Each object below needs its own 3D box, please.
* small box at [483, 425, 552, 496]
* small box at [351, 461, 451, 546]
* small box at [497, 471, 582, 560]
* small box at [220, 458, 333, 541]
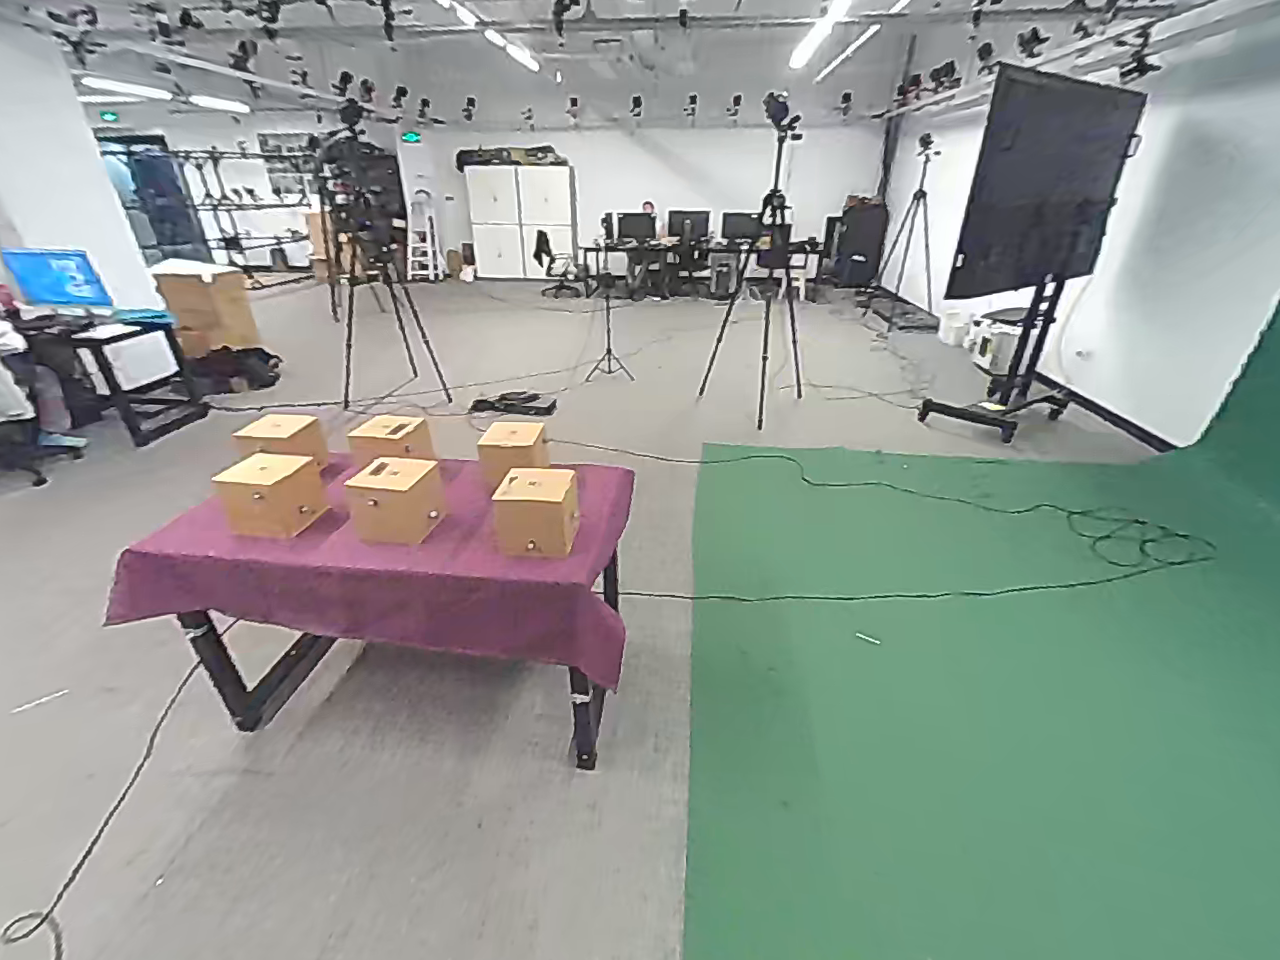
[{"bbox_3d":[-0.374,-0.059,1.682,0.168,0.176,0.179,1,29,4],"label":"small box"},{"bbox_3d":[-0.635,0.063,1.458,0.179,0.176,0.168,5,29,9],"label":"small box"},{"bbox_3d":[-0.251,0.093,1.397,0.179,0.176,0.168,3,28,5],"label":"small box"},{"bbox_3d":[-0.987,0.052,1.484,0.179,0.176,0.168,5,28,7],"label":"small box"}]
